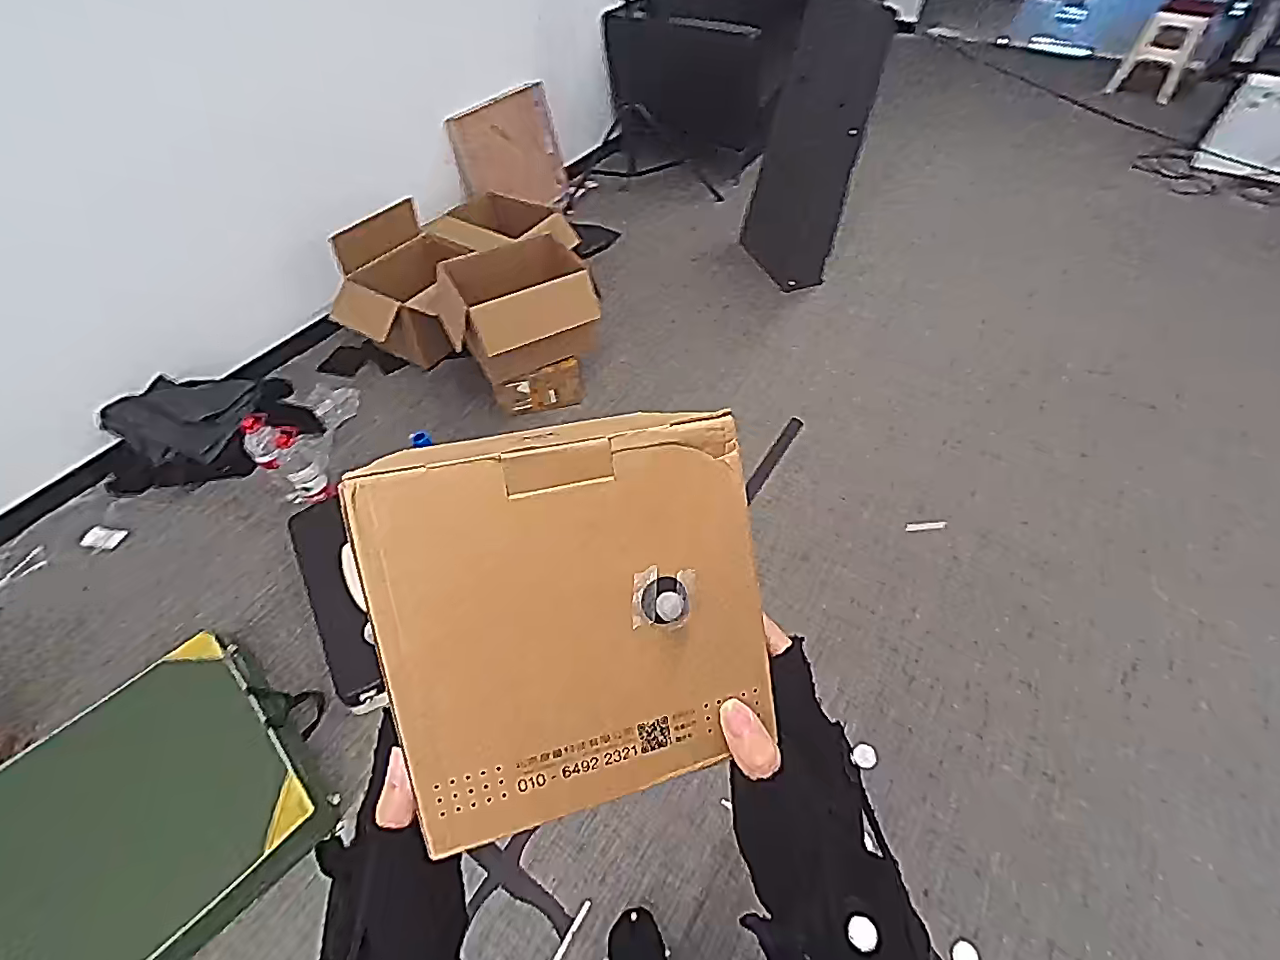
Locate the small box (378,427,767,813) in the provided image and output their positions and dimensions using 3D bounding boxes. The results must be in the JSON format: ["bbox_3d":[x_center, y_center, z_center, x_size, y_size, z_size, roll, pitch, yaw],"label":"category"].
[{"bbox_3d":[-0.037,0.067,0.332,0.168,0.176,0.179,-10,8,-12],"label":"small box"}]
